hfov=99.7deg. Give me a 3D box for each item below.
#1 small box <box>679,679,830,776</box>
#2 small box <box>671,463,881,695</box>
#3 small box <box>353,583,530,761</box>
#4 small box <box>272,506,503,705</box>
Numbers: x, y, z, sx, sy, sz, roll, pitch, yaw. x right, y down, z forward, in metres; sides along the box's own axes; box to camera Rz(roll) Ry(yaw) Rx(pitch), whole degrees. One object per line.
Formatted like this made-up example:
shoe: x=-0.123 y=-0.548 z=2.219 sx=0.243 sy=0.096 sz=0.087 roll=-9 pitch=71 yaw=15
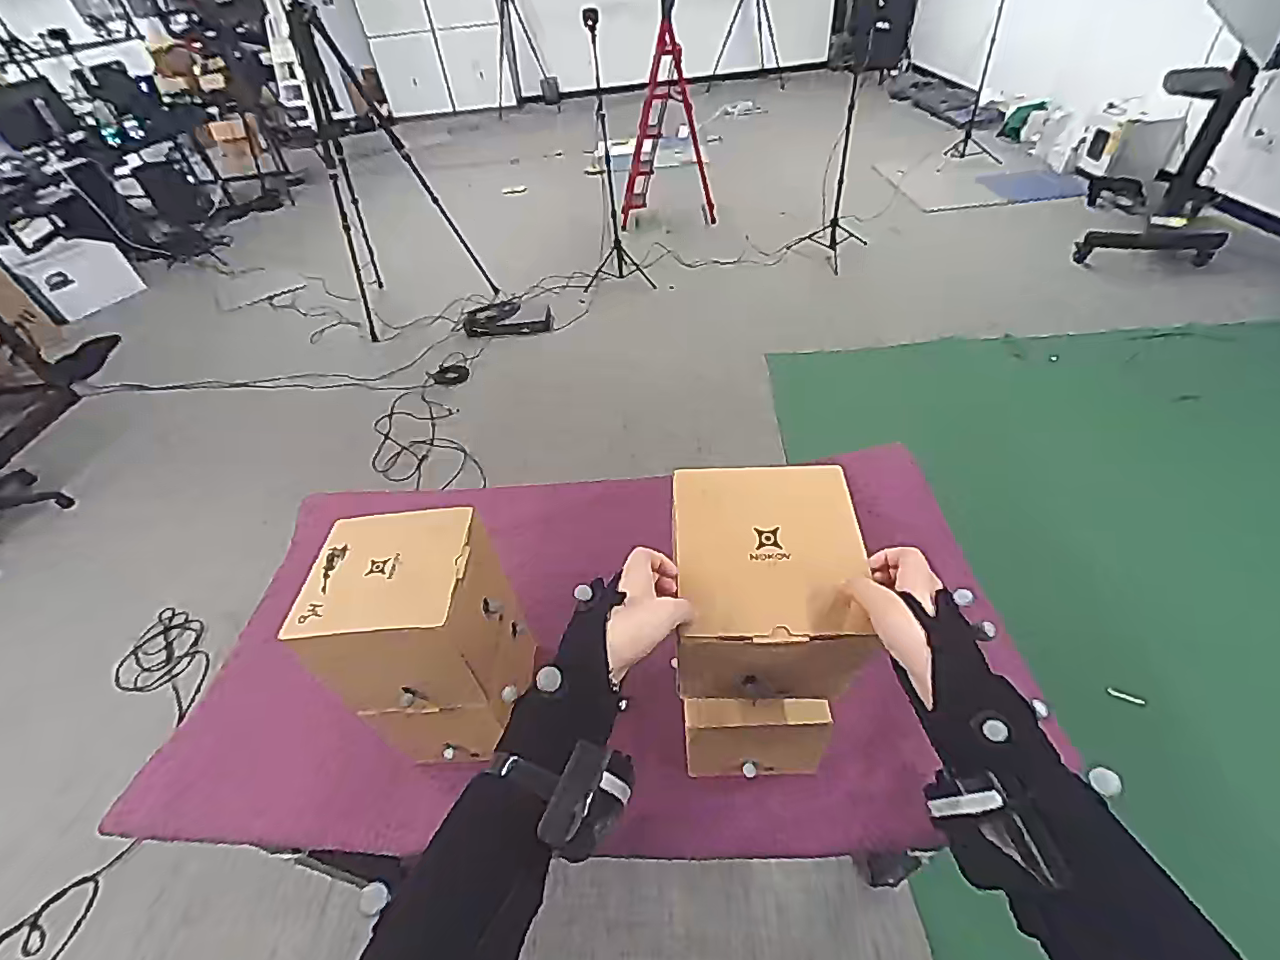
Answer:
small box: x=0.135 y=0.266 z=0.709 sx=0.168 sy=0.176 sz=0.179 roll=-4 pitch=45 yaw=4
small box: x=0.114 y=0.101 z=0.542 sx=0.168 sy=0.176 sz=0.179 roll=-1 pitch=54 yaw=3
small box: x=-0.258 y=0.268 z=0.756 sx=0.168 sy=0.176 sz=0.179 roll=-5 pitch=43 yaw=3
small box: x=-0.274 y=0.150 z=0.643 sx=0.179 sy=0.176 sz=0.168 roll=-4 pitch=43 yaw=2
